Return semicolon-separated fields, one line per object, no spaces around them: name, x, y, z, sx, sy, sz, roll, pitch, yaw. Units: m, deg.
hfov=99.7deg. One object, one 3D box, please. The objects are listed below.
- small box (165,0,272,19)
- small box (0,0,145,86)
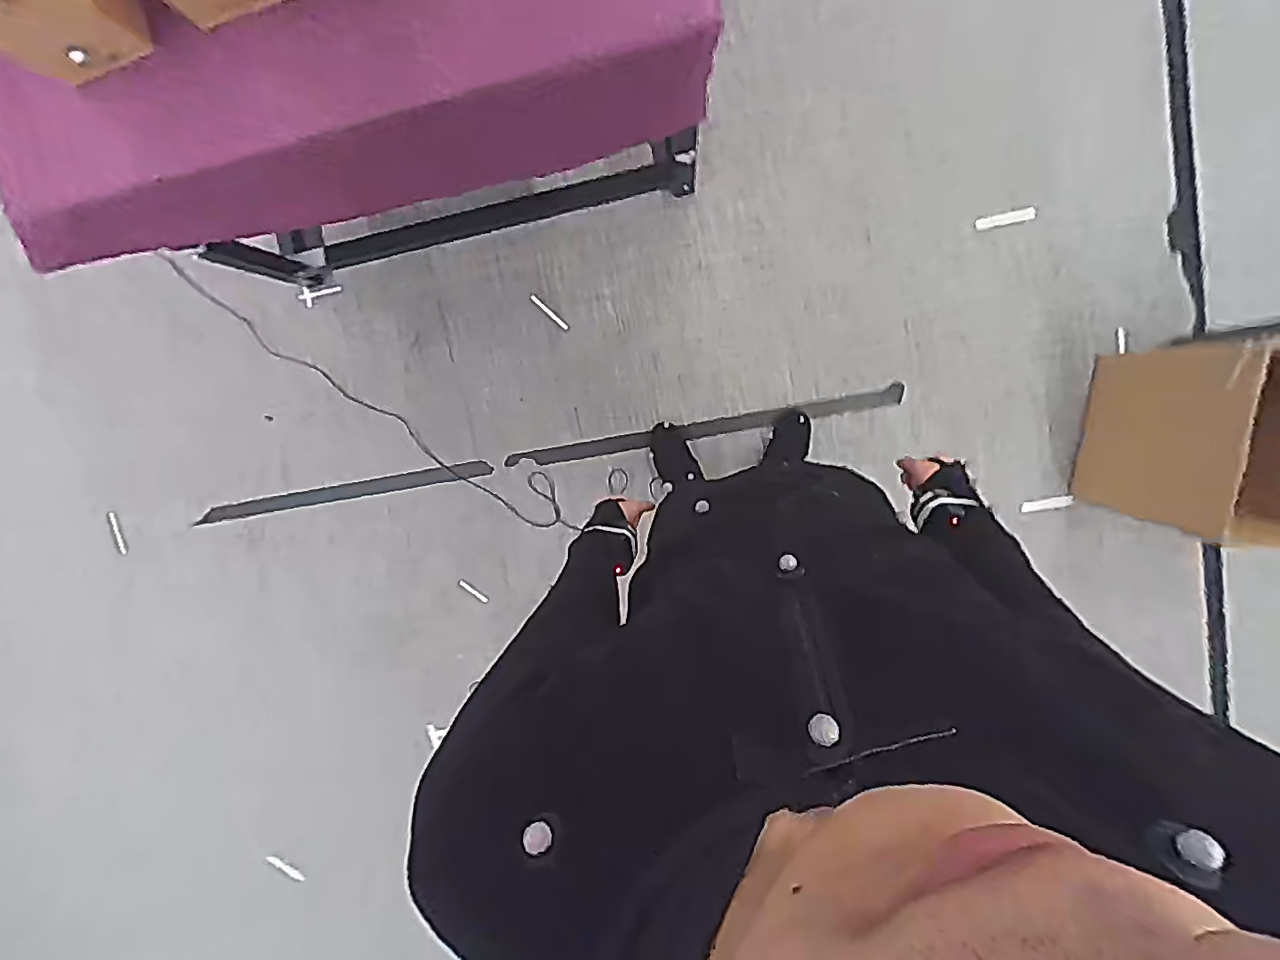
small box;-0.631;-0.781;0.735;0.168;0.176;0.179;-14;97;6
small box;-0.871;-0.713;0.762;0.168;0.176;0.179;-15;98;7
